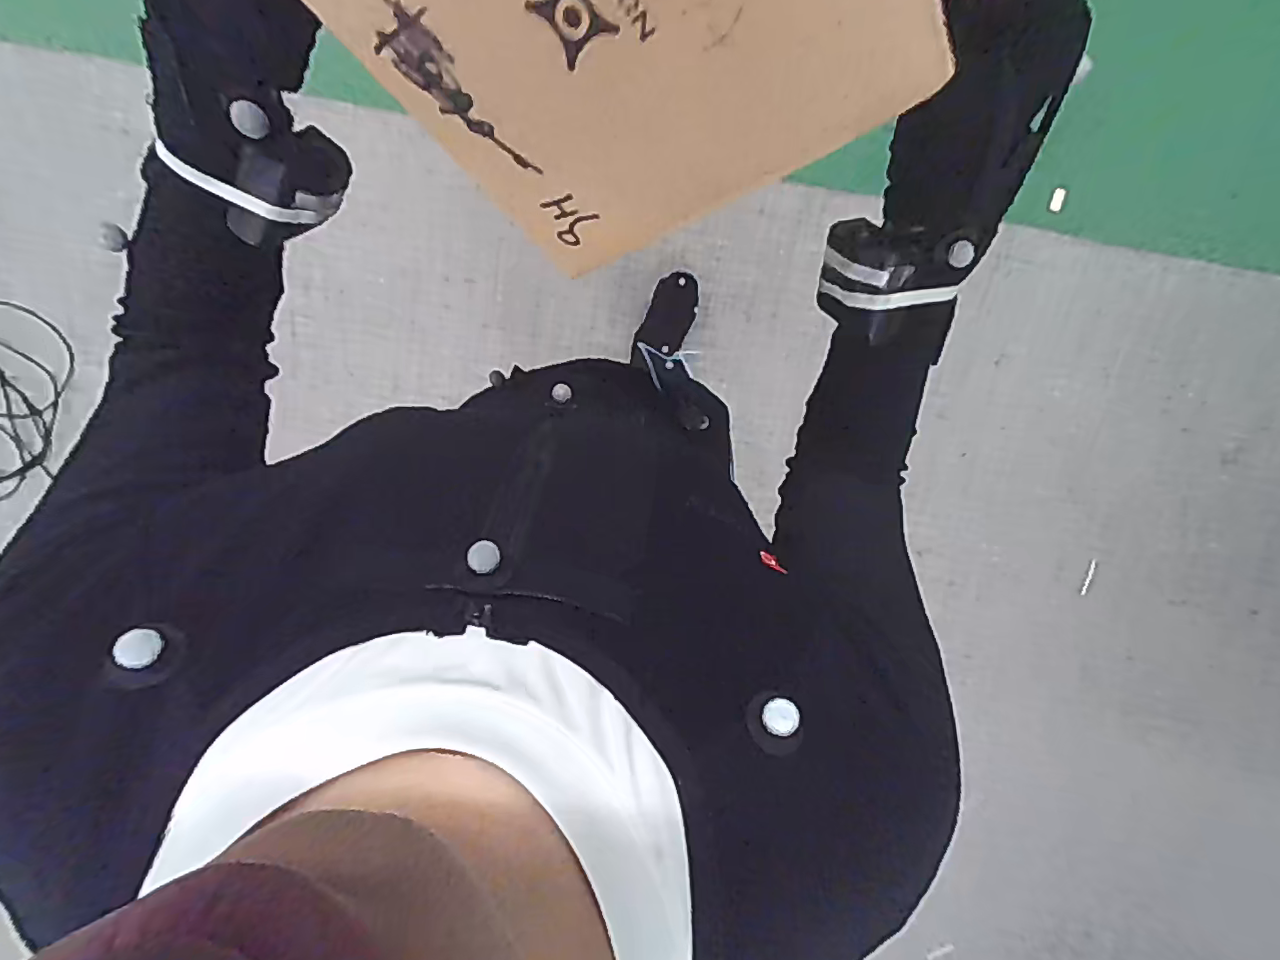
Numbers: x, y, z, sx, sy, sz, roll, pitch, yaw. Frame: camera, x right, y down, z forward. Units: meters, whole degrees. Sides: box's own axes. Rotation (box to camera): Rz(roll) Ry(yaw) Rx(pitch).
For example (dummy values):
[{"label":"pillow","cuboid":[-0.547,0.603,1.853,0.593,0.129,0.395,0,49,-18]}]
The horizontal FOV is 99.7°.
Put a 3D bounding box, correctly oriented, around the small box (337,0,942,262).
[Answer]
[{"label":"small box","cuboid":[0.003,-0.235,0.218,0.179,0.176,0.168,-10,147,35]}]
